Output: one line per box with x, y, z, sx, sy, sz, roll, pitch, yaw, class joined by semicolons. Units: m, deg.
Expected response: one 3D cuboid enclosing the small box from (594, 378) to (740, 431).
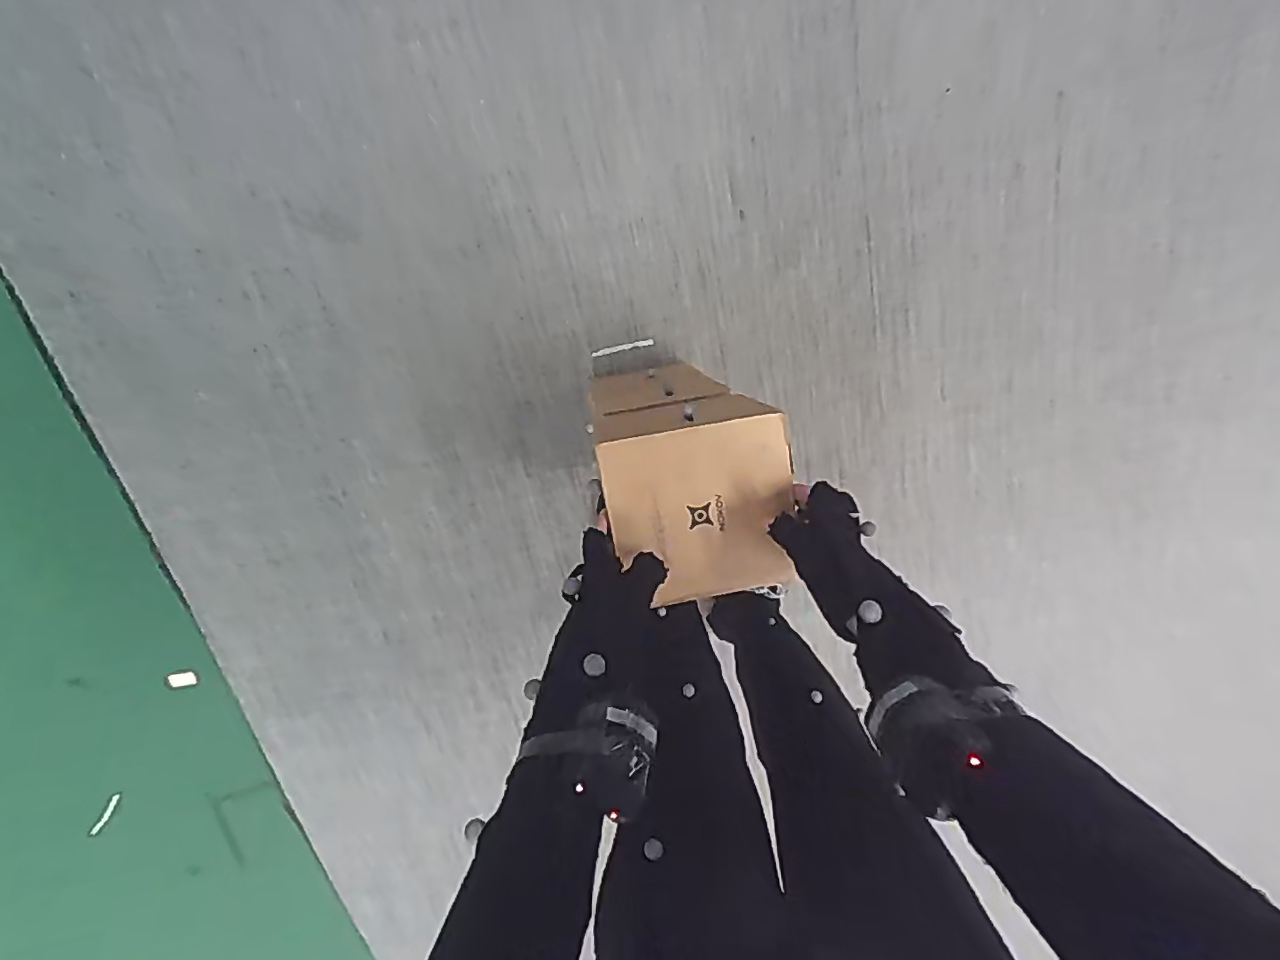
0.036;-0.040;0.748;0.179;0.176;0.168;-10;109;-3;small box

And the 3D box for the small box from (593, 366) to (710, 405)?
0.019;-0.093;0.899;0.179;0.176;0.168;-8;107;-3;small box

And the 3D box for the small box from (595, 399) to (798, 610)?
0.050;0.013;0.578;0.179;0.176;0.168;-10;104;-1;small box
